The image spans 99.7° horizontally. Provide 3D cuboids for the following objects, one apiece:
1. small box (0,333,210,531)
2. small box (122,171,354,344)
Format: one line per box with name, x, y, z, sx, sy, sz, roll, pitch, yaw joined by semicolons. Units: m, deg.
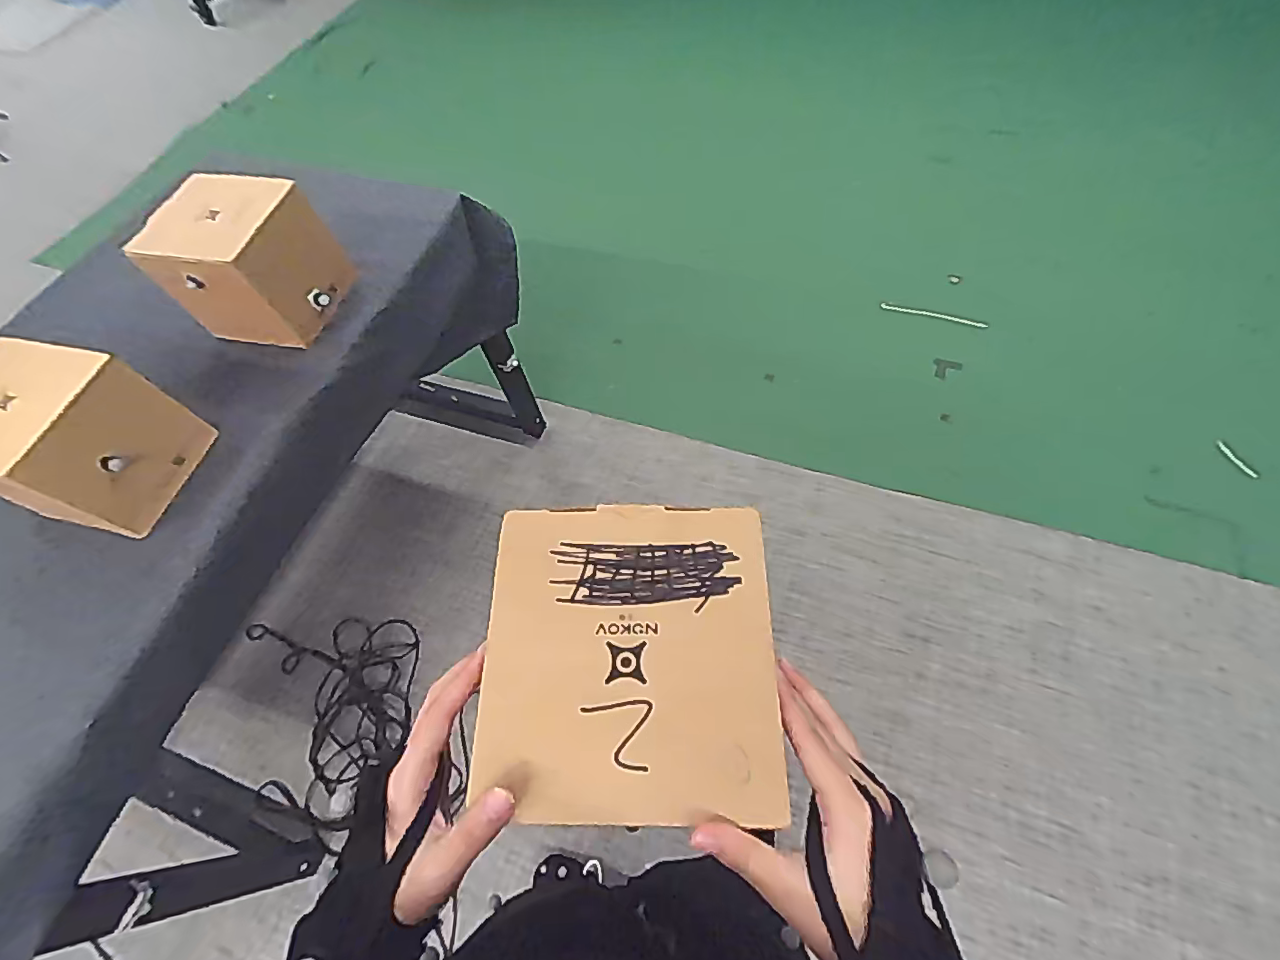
small box;-0.694;-0.051;0.660;0.179;0.176;0.168;10;63;11
small box;-0.570;-0.320;0.795;0.179;0.176;0.168;9;64;9
